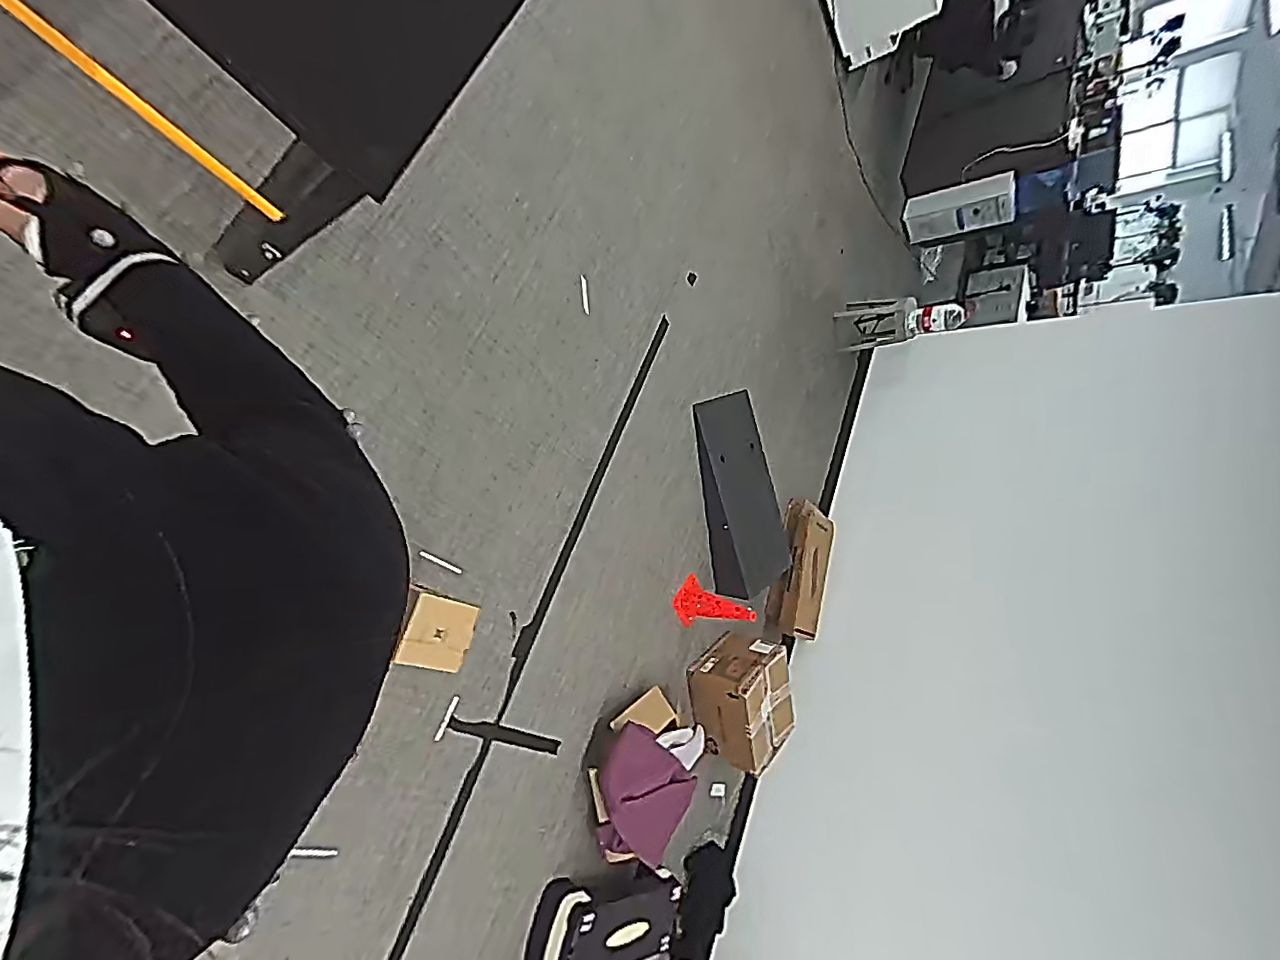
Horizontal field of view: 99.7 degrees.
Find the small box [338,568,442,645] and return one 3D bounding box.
[{"bbox_3d":[-0.672,0.349,1.447,0.168,0.176,0.179,37,67,-43],"label":"small box"}]

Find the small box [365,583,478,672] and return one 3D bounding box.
[{"bbox_3d":[-0.545,0.363,1.347,0.179,0.176,0.168,32,68,-44],"label":"small box"}]
